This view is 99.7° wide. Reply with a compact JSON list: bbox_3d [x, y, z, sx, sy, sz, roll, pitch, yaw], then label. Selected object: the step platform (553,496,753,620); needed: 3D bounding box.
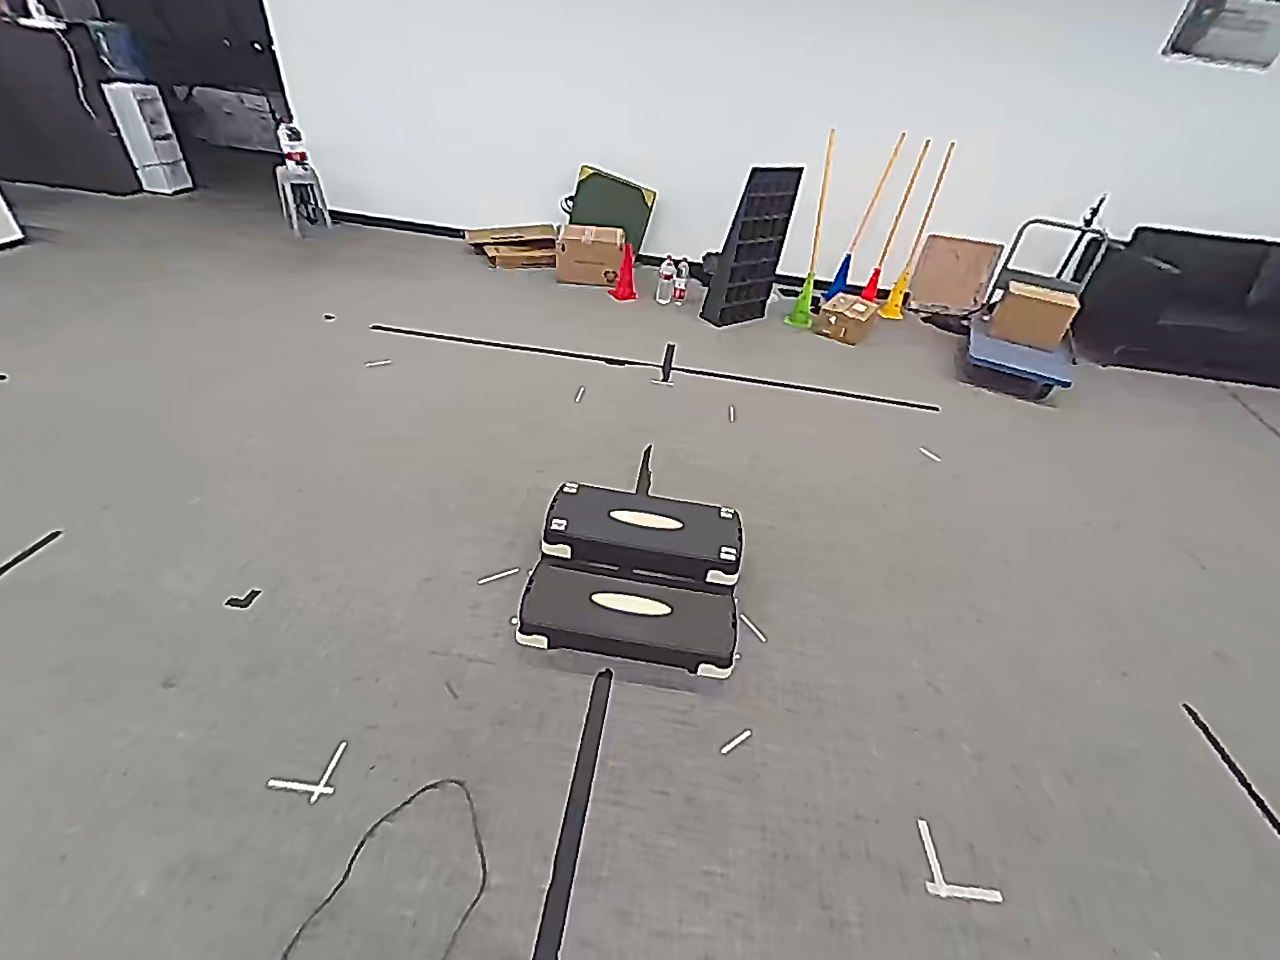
[{"bbox_3d":[0.048,0.262,1.895,0.684,0.204,0.286,12,37,5],"label":"step platform"}]
